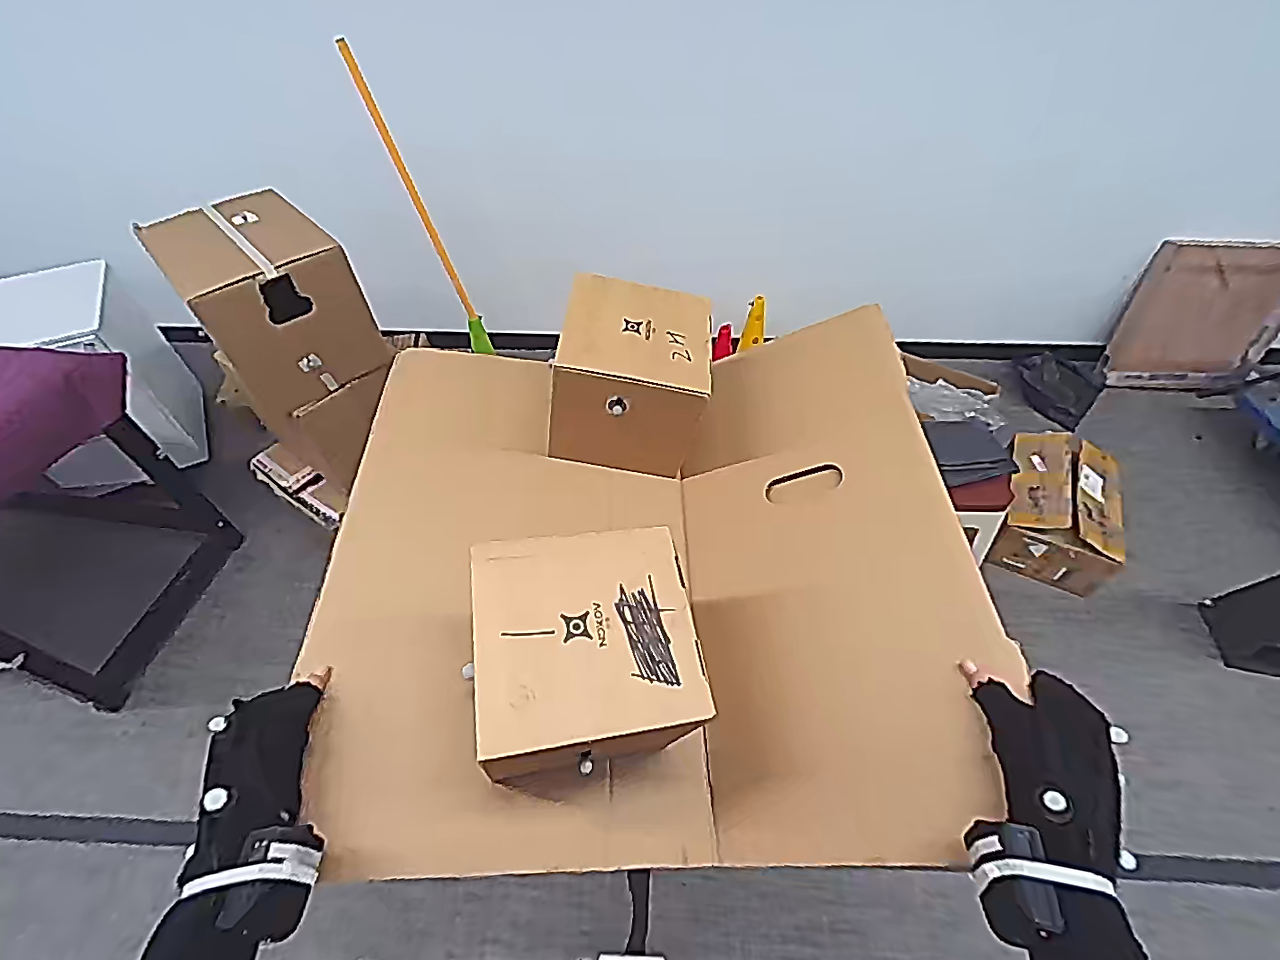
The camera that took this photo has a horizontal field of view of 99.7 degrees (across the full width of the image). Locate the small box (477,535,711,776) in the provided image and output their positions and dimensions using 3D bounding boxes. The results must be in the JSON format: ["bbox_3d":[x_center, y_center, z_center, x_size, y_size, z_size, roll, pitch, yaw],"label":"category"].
[{"bbox_3d":[-0.055,0.165,0.502,0.179,0.176,0.168,-3,58,-14],"label":"small box"}]

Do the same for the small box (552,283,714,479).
[{"bbox_3d":[-0.013,-0.120,0.698,0.179,0.176,0.168,11,56,-6],"label":"small box"}]
